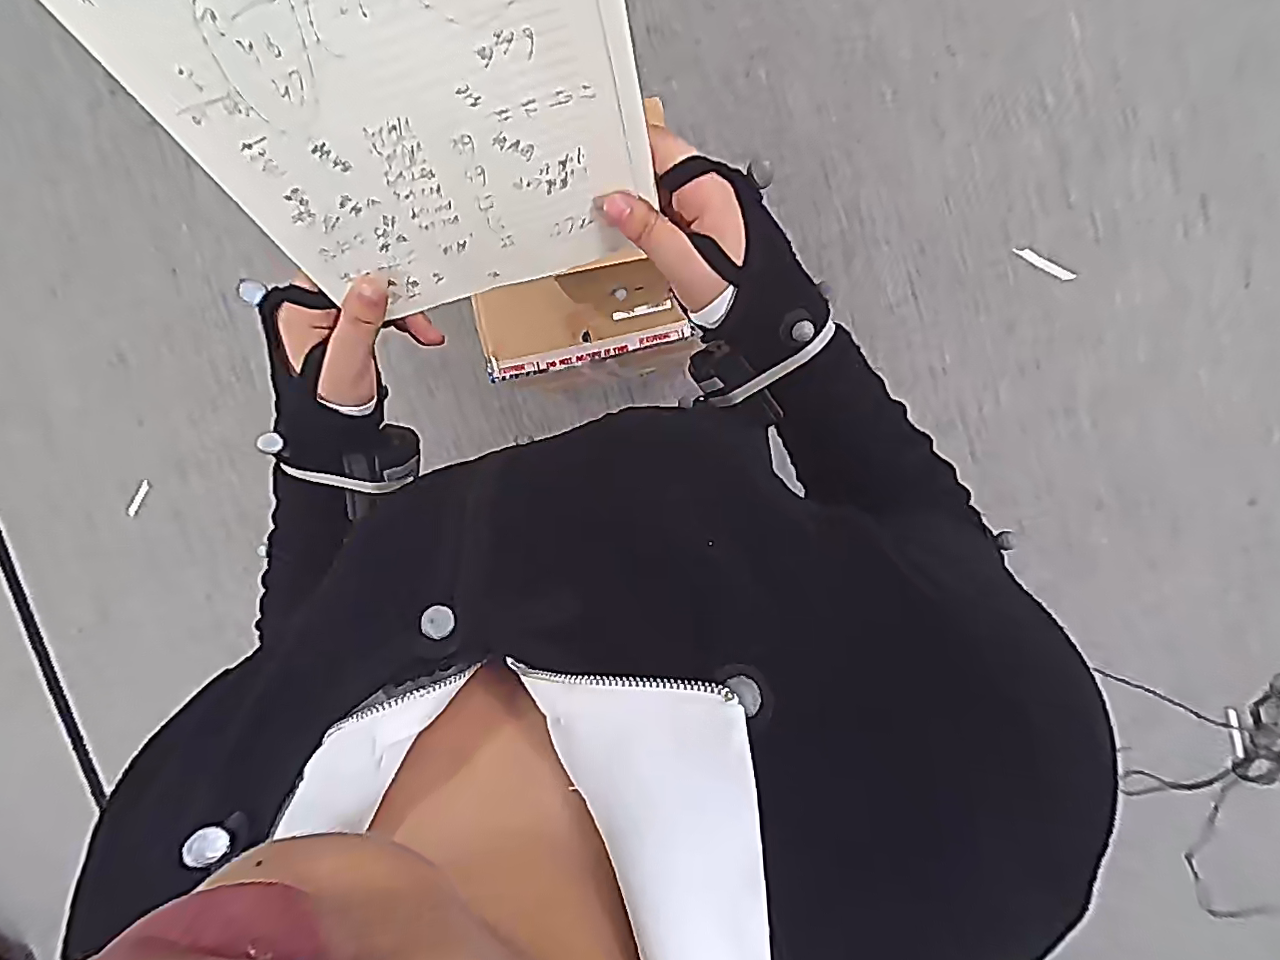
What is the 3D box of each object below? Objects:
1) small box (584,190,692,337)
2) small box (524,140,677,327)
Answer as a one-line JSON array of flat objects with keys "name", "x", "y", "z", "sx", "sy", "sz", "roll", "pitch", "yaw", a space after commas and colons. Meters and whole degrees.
[{"name": "small box", "x": -0.020, "y": -0.345, "z": 0.895, "sx": 0.179, "sy": 0.176, "sz": 0.168, "roll": -13, "pitch": 96, "yaw": 4}, {"name": "small box", "x": -0.046, "y": -0.318, "z": 0.733, "sx": 0.168, "sy": 0.176, "sz": 0.179, "roll": -9, "pitch": 98, "yaw": 3}]
